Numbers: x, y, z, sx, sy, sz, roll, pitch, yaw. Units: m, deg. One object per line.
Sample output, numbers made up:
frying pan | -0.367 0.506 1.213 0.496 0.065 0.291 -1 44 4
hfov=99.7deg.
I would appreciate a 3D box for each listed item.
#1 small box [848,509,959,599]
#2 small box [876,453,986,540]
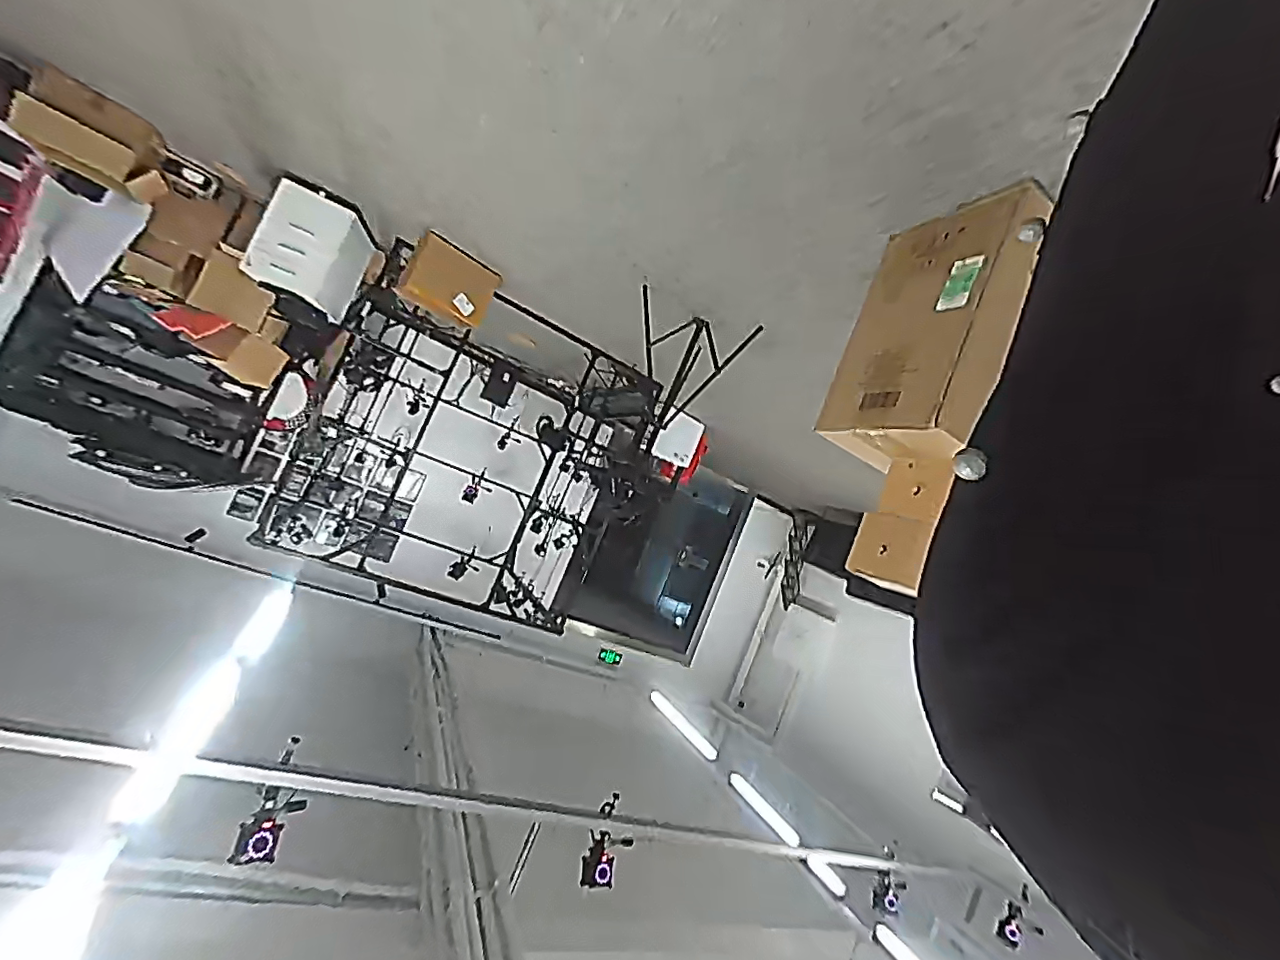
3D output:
small box | 0.683 0.185 1.403 0.168 0.176 0.179 24 174 -27
small box | 0.756 0.037 1.405 0.179 0.176 0.168 24 175 -27
